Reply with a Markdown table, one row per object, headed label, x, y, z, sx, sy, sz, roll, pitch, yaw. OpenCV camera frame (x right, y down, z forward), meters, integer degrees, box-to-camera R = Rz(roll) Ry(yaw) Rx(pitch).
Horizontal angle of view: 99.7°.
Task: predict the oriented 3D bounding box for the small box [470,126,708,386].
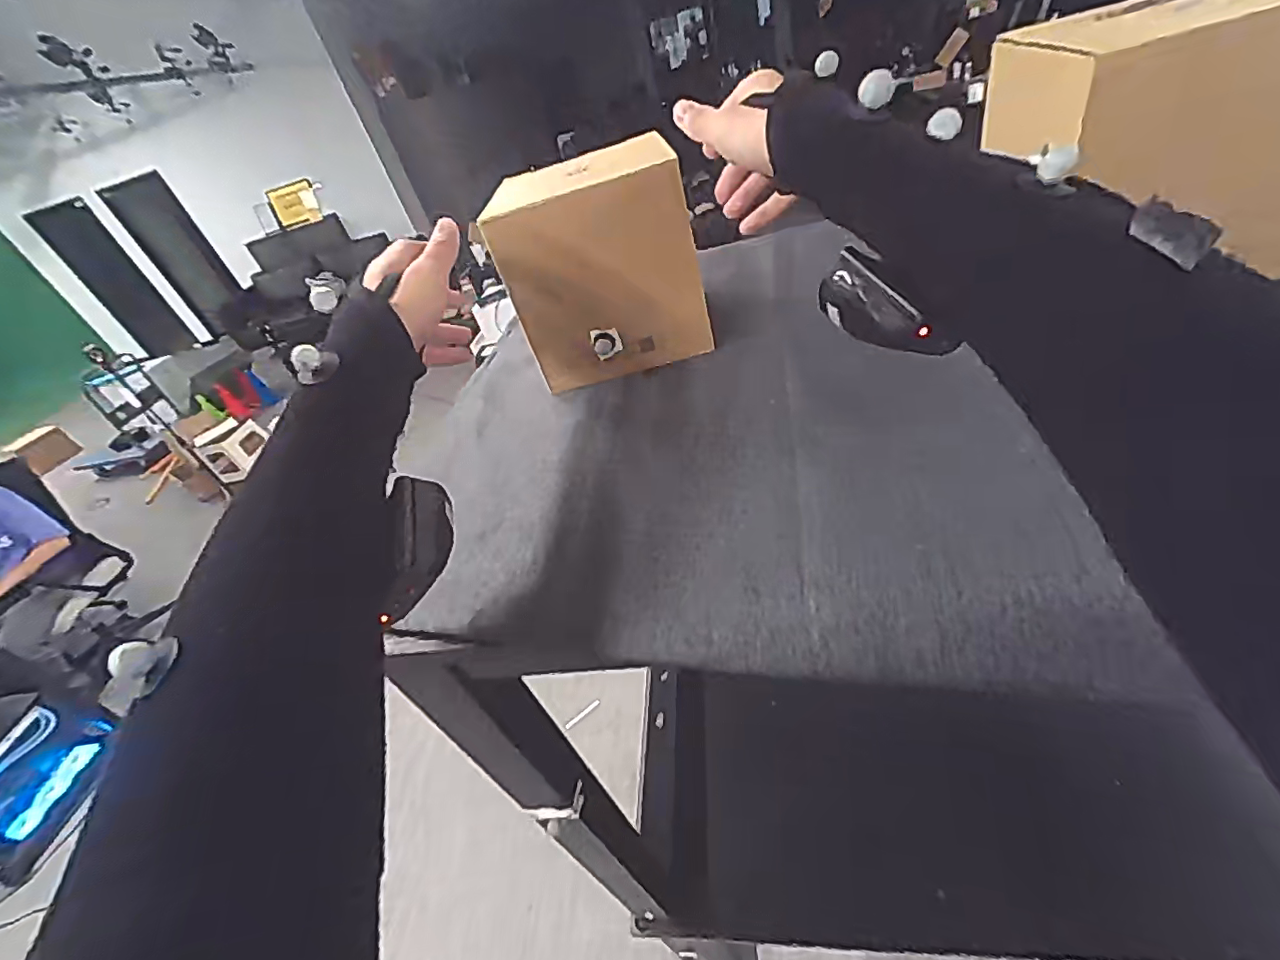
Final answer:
| label | x | y | z | sx | sy | sz | roll | pitch | yaw |
| --- | --- | --- | --- | --- | --- | --- | --- | --- | --- |
| small box | -0.039 | -0.216 | 0.523 | 0.168 | 0.176 | 0.179 | -15 | 38 | 6 |
